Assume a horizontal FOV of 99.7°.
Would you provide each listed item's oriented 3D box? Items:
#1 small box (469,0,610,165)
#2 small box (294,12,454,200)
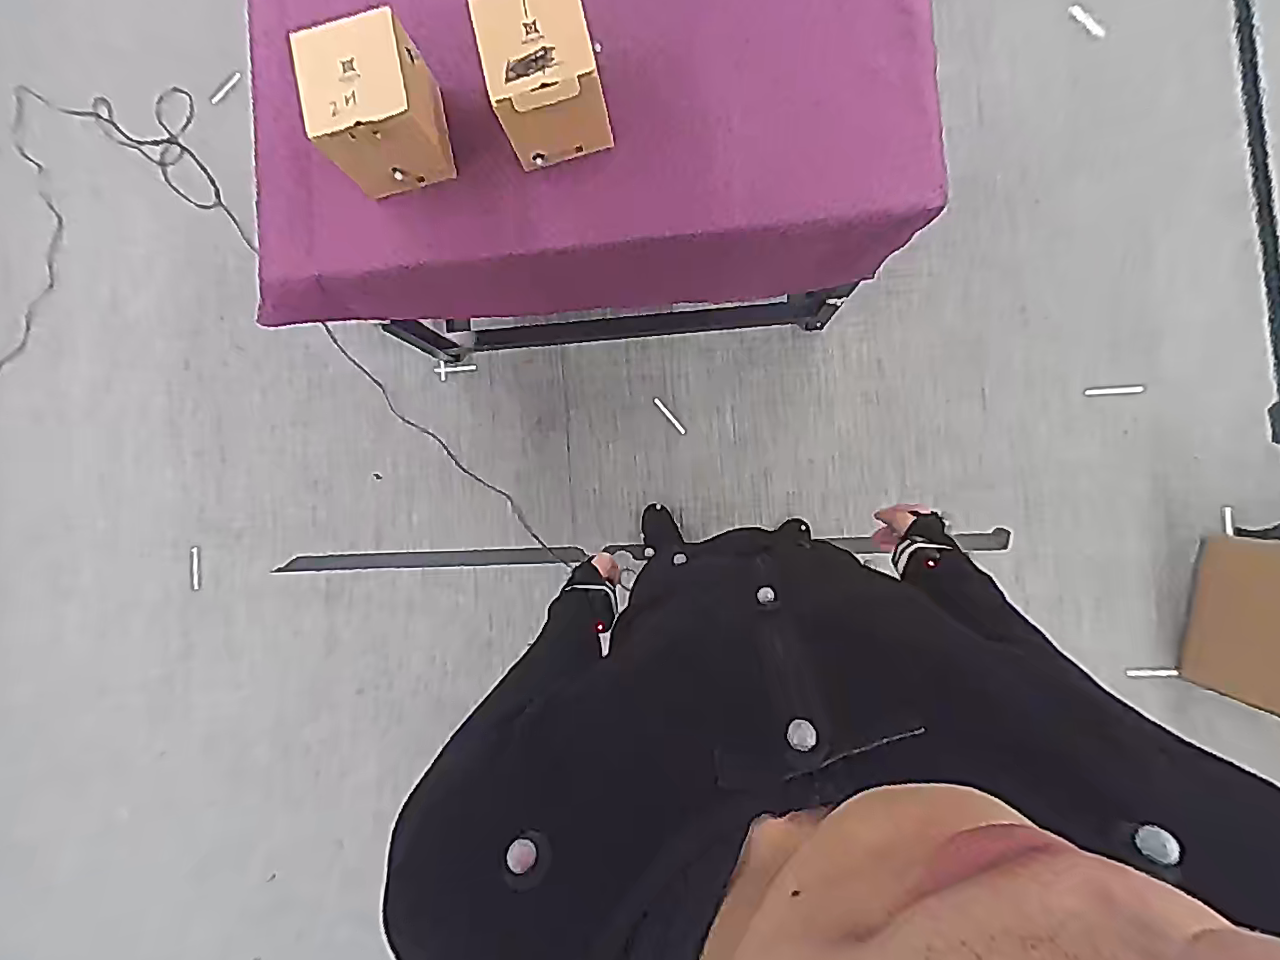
[{"bbox_3d":[-0.153,-0.648,0.880,0.168,0.176,0.179,-14,86,4],"label":"small box"},{"bbox_3d":[-0.432,-0.610,0.903,0.168,0.176,0.179,-12,87,5],"label":"small box"}]
